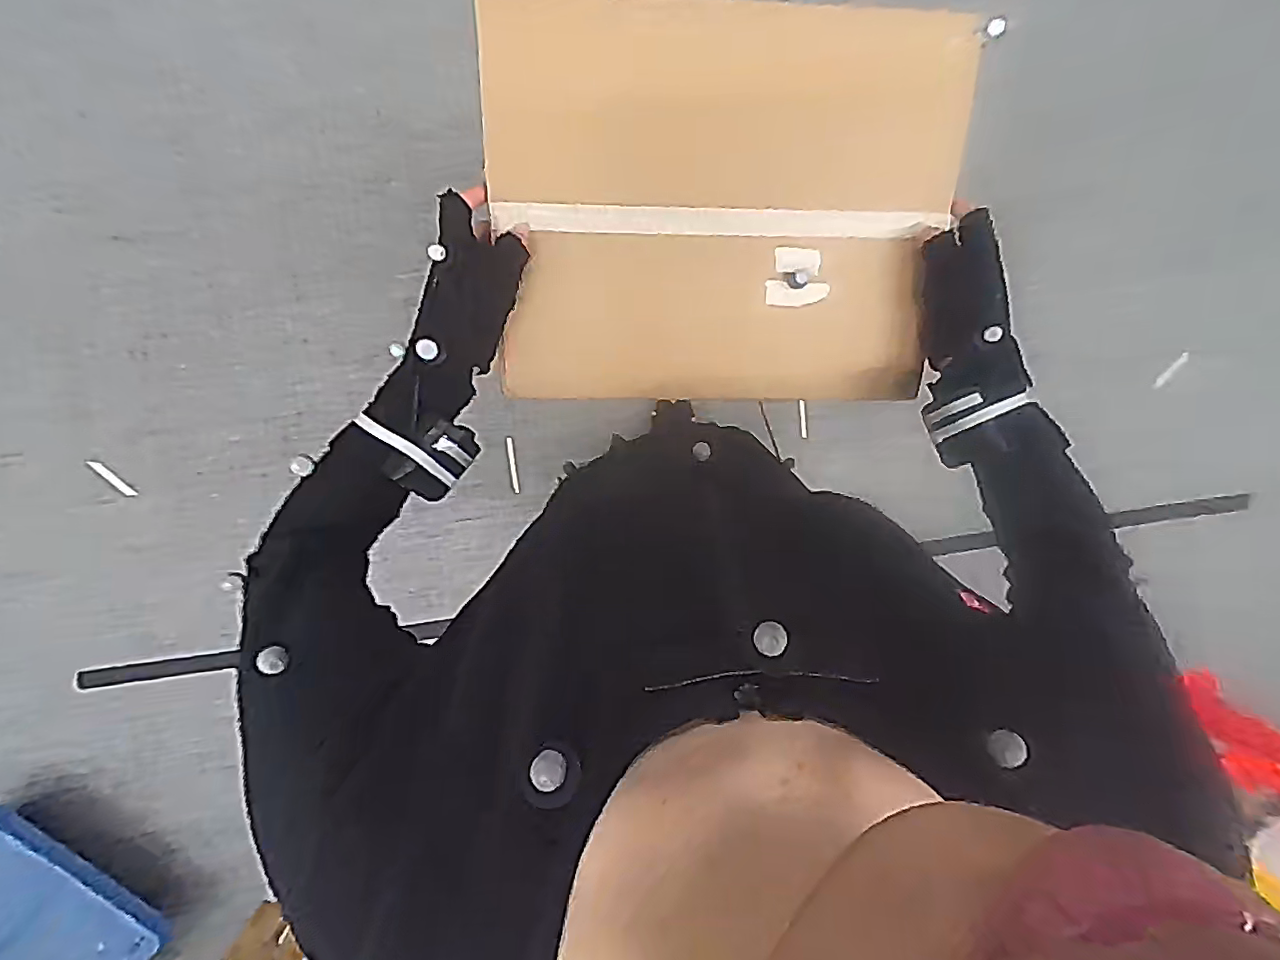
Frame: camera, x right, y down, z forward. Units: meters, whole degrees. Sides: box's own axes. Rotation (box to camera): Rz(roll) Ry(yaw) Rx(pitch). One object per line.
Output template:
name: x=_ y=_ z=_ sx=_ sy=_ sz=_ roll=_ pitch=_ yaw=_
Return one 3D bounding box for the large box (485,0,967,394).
large box: x=0.064 y=-0.282 z=0.621 sx=0.408 sy=0.320 sz=0.320 roll=-2 pitch=110 yaw=-5
